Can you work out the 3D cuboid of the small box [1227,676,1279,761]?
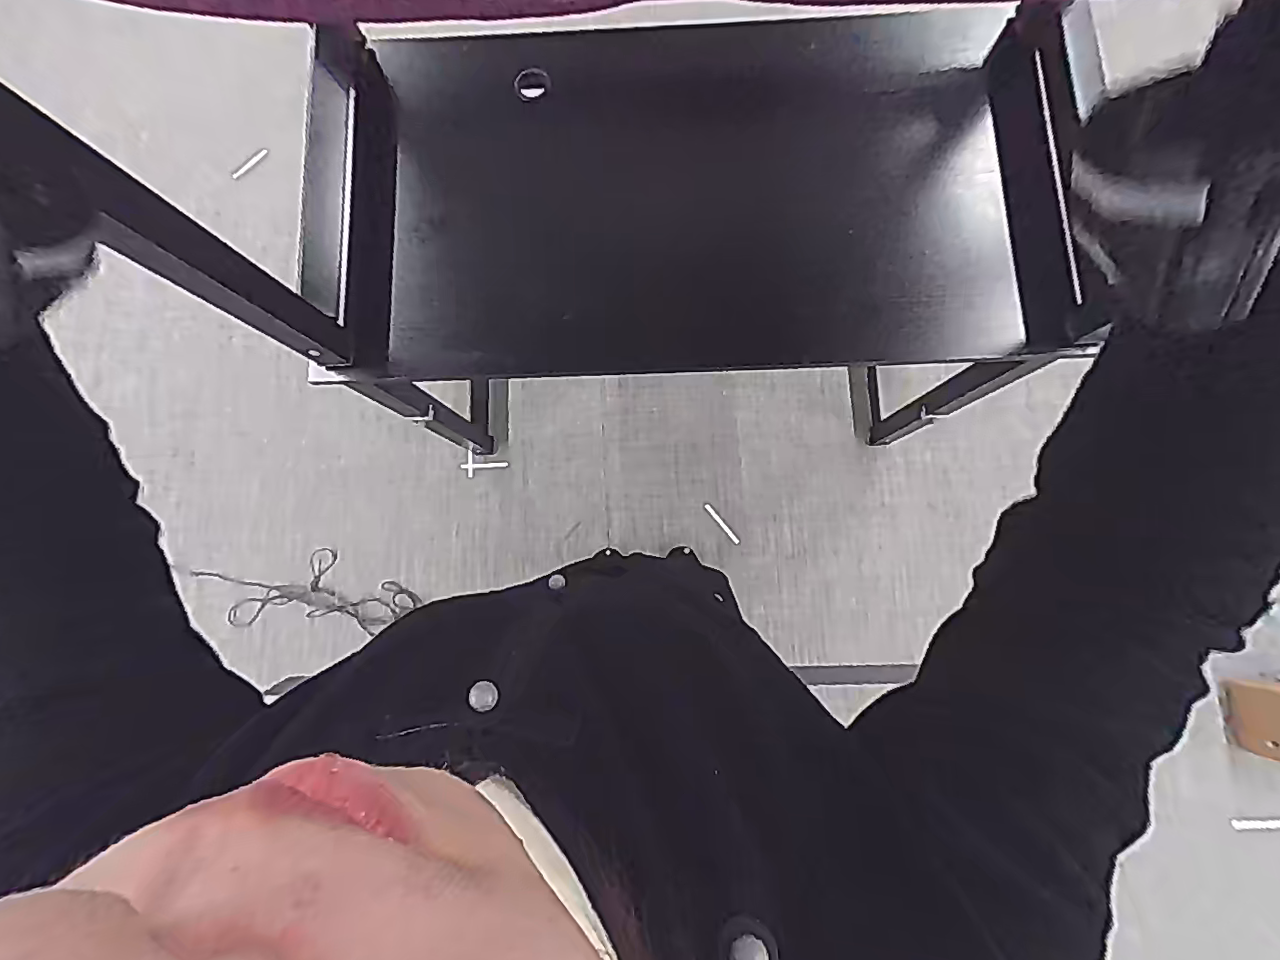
[{"bbox_3d":[1.610,0.590,1.319,0.168,0.176,0.179,-3,83,1],"label":"small box"}]
